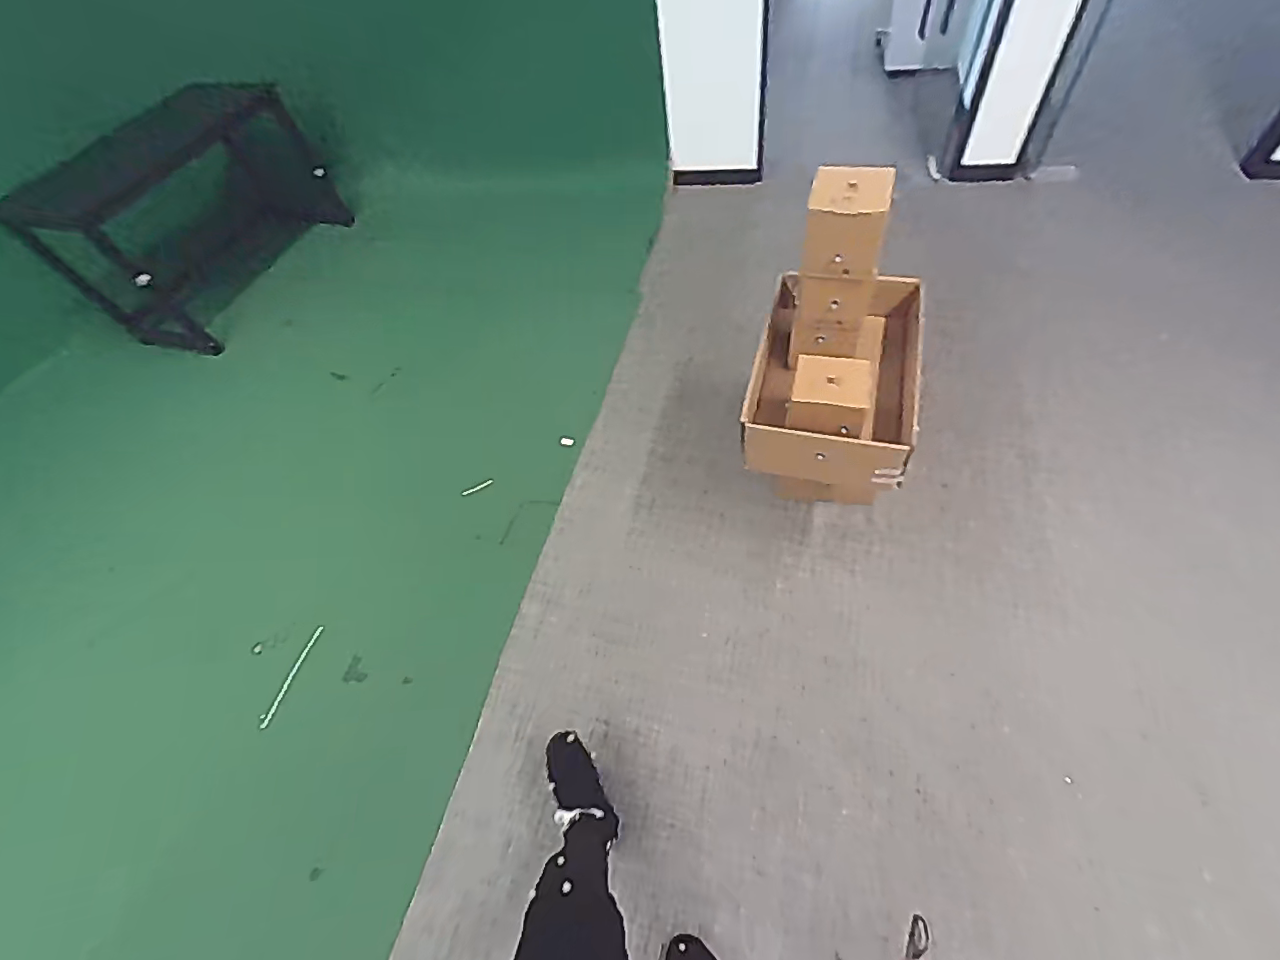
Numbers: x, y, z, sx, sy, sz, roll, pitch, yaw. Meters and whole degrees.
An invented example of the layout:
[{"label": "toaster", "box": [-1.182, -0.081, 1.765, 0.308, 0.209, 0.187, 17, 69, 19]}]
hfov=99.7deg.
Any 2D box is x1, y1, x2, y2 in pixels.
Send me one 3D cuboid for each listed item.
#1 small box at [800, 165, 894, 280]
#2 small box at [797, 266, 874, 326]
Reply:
[{"label": "small box", "box": [0.466, -0.587, 1.233, 0.168, 0.176, 0.179, 11, 60, 18]}, {"label": "small box", "box": [0.494, -0.511, 1.377, 0.168, 0.176, 0.179, 5, 59, 13]}]
